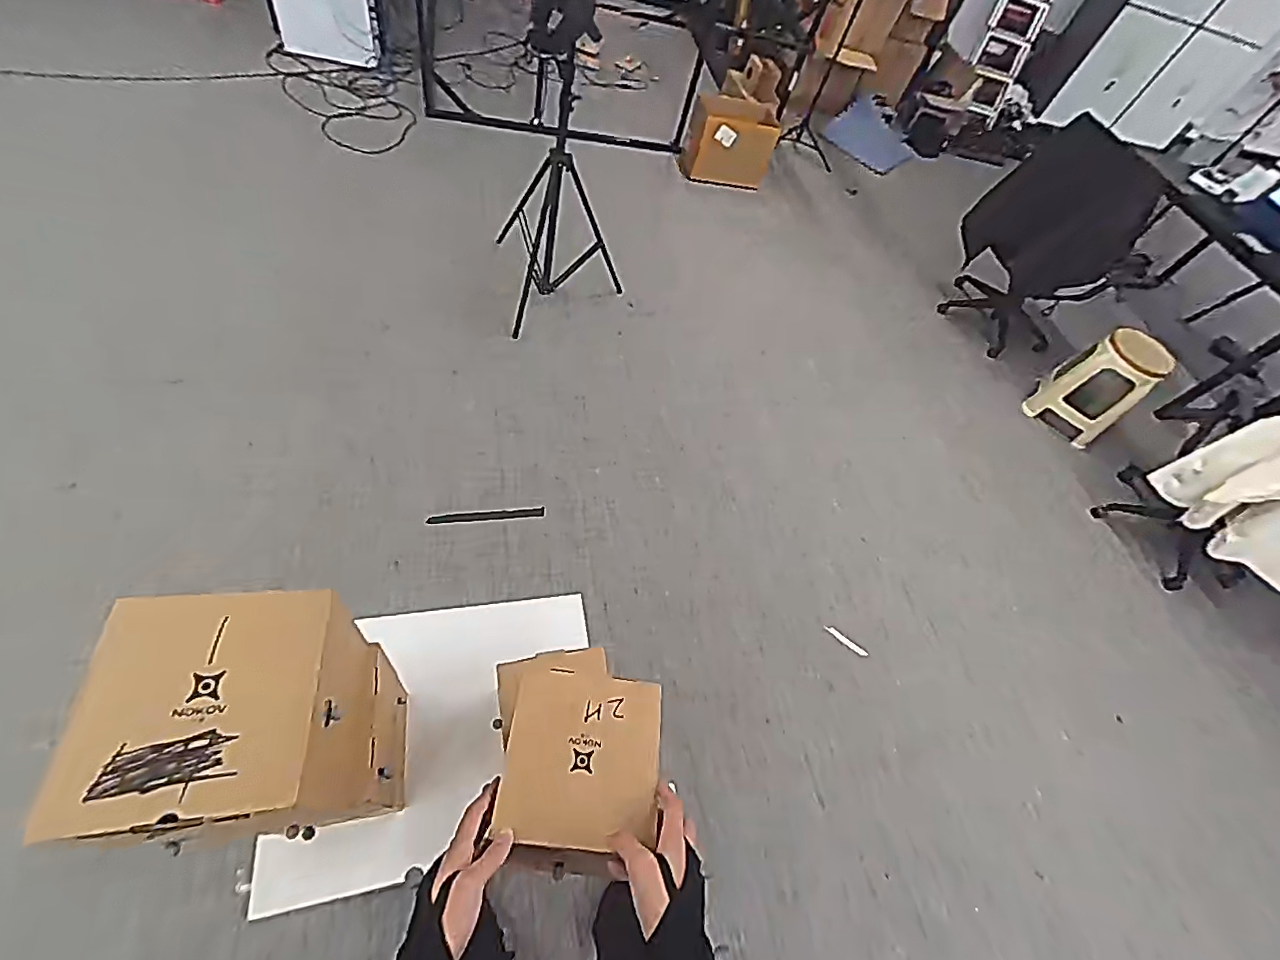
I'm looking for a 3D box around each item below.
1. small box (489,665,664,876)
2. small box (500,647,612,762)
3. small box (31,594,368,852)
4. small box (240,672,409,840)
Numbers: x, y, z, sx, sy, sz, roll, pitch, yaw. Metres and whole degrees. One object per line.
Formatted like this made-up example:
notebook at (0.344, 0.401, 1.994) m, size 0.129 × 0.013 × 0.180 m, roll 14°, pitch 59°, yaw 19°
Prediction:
small box at (-0.073, 0.344, 0.633) m, size 0.168 × 0.176 × 0.179 m, roll 11°, pitch 46°, yaw -7°
small box at (-0.128, 0.383, 0.845) m, size 0.168 × 0.176 × 0.179 m, roll -6°, pitch 59°, yaw -17°
small box at (-0.358, 0.218, 0.489) m, size 0.168 × 0.176 × 0.179 m, roll 1°, pitch 57°, yaw -15°
small box at (-0.426, 0.388, 0.763) m, size 0.168 × 0.176 × 0.179 m, roll -2°, pitch 58°, yaw -17°
